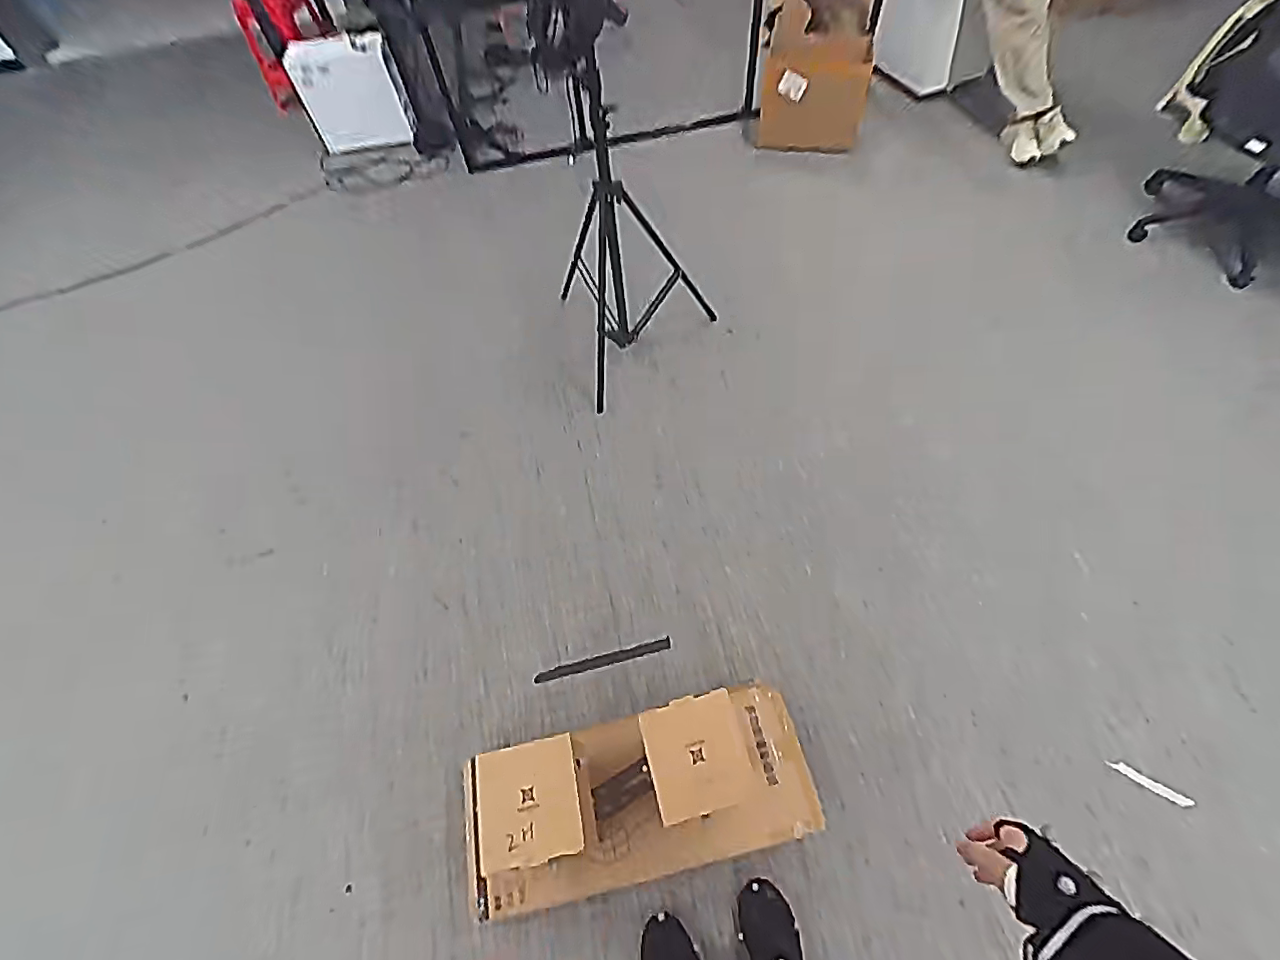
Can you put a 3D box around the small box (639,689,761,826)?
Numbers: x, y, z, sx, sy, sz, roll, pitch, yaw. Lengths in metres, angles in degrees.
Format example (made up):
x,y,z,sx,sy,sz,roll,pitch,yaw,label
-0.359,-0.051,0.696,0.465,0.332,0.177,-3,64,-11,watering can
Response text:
x,y,z,sx,sy,sz,roll,pitch,yaw,label
0.102,0.503,0.975,0.168,0.176,0.179,-16,59,-3,small box

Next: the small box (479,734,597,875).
x,y,z,sx,sy,sz,roll,pitch,yaw,label
-0.177,0.569,0.954,0.168,0.176,0.179,-12,58,-3,small box
